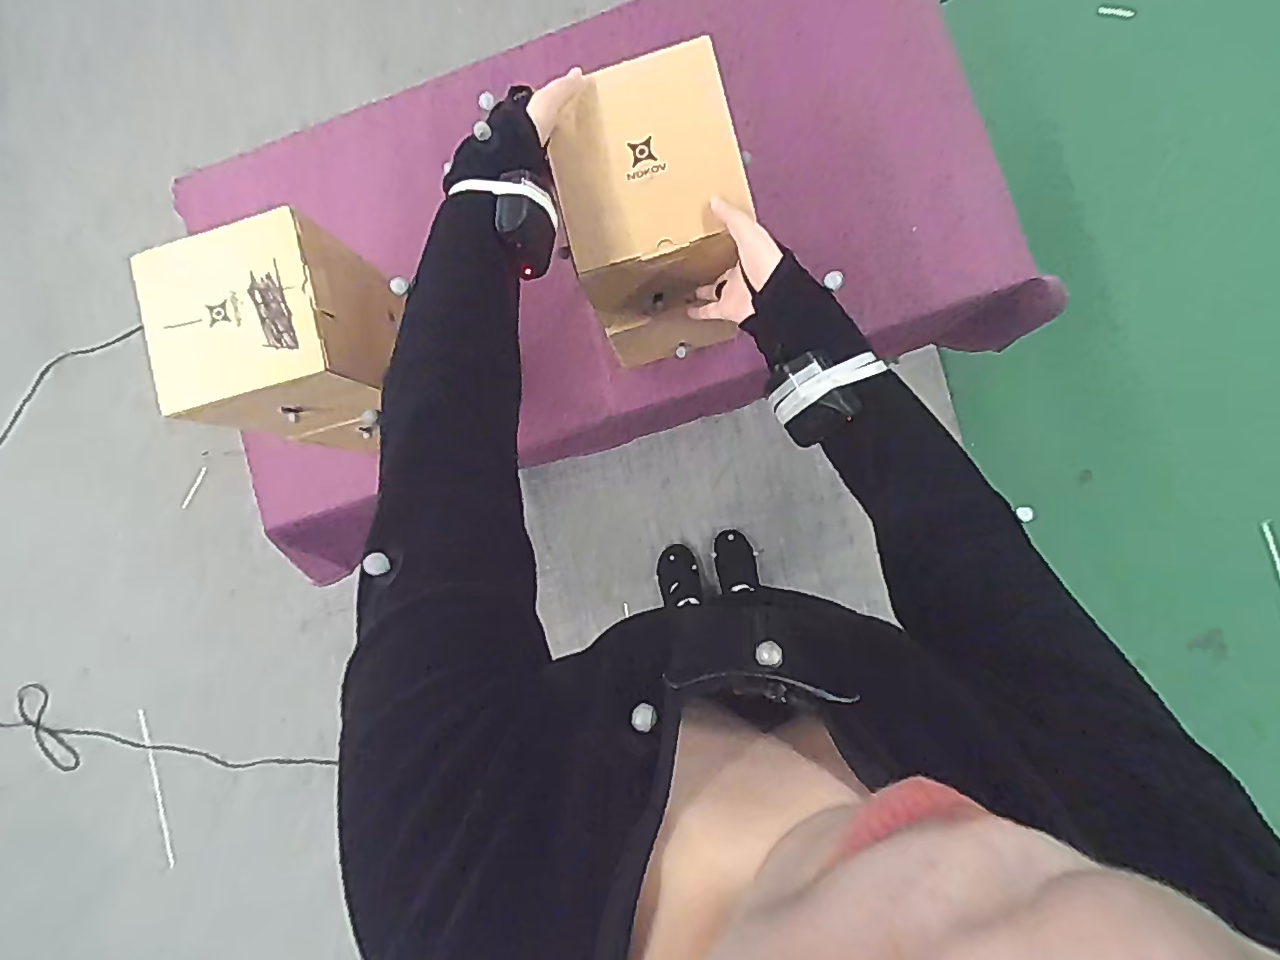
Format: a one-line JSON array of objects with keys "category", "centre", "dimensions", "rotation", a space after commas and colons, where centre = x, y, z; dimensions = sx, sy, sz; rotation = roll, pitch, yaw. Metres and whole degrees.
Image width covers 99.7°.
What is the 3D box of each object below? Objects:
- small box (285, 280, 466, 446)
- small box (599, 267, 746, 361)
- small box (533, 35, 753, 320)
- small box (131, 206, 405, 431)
[{"category": "small box", "centre": [-0.372, -0.149, 0.757], "dimensions": [0.179, 0.176, 0.168], "rotation": [-14, 87, 4]}, {"category": "small box", "centre": [0.028, -0.276, 0.723], "dimensions": [0.179, 0.176, 0.168], "rotation": [-15, 86, 4]}, {"category": "small box", "centre": [0.007, -0.289, 0.558], "dimensions": [0.168, 0.176, 0.179], "rotation": [-15, 90, 5]}, {"category": "small box", "centre": [-0.384, -0.159, 0.593], "dimensions": [0.179, 0.176, 0.168], "rotation": [-15, 87, 5]}]
